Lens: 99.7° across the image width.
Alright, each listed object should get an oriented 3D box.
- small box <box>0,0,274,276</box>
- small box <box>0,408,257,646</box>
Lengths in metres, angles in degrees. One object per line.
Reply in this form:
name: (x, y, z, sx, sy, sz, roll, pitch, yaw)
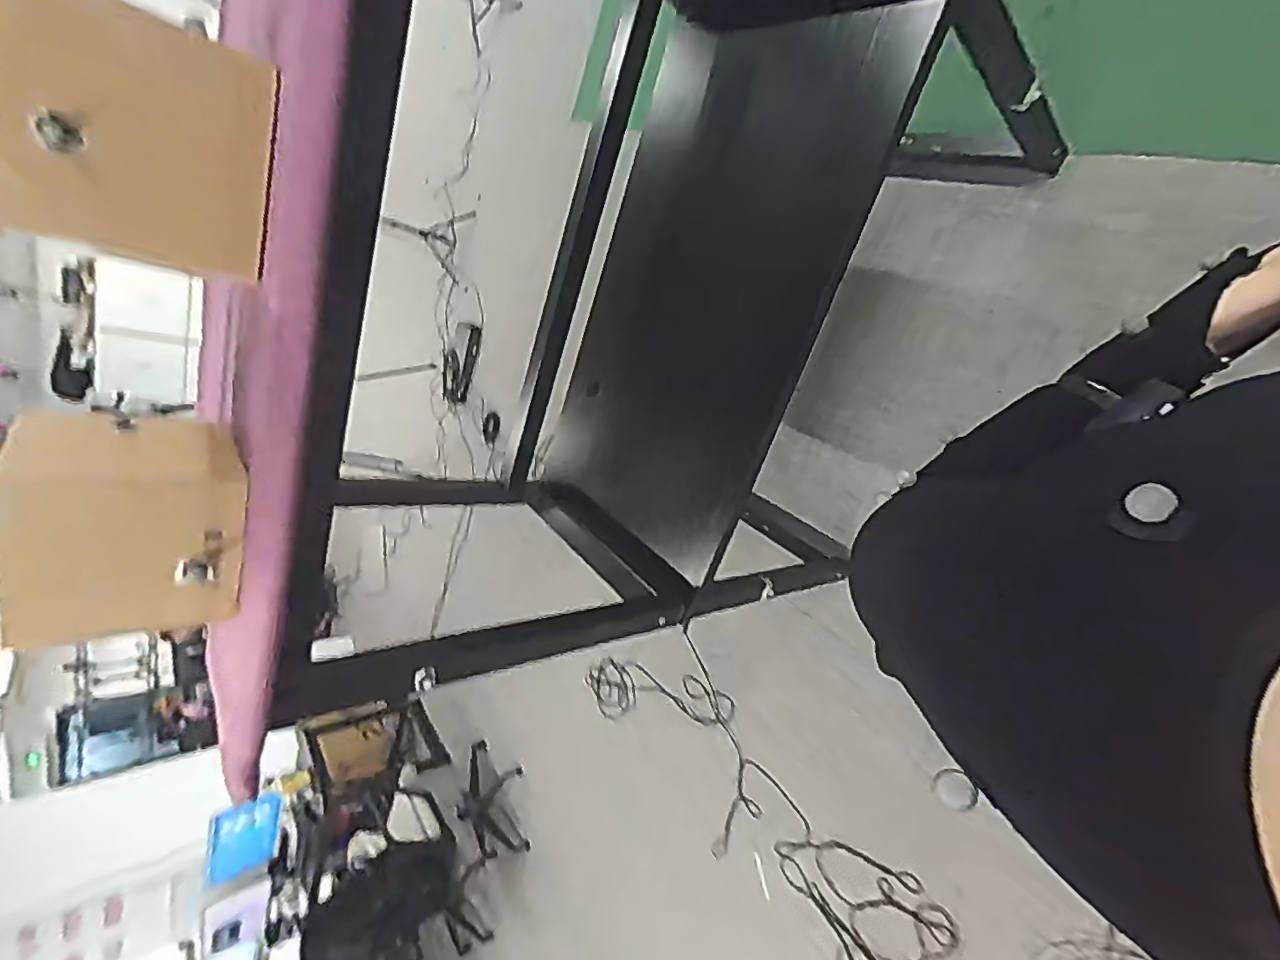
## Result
small box: (-0.423, -0.292, 0.459, 0.168, 0.176, 0.179, 38, 116, 42)
small box: (-0.509, 0.037, 0.547, 0.179, 0.176, 0.168, 31, 113, 41)
